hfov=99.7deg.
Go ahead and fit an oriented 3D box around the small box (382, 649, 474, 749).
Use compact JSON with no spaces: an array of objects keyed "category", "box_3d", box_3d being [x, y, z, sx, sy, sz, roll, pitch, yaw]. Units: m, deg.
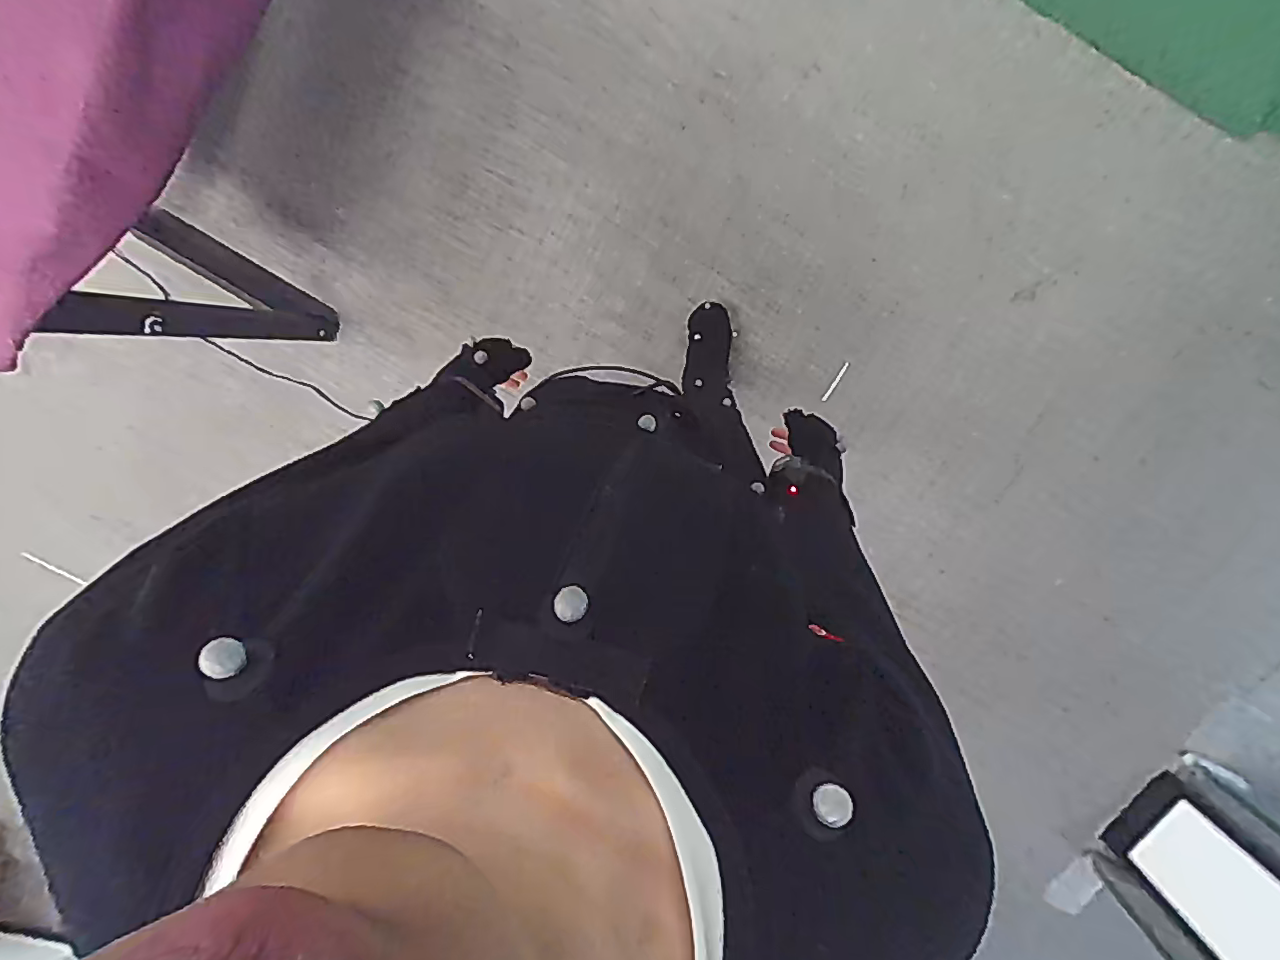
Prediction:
[{"category":"small box","box_3d":[-0.612,0.635,1.583,0.168,0.176,0.179,28,104,-3]}]
